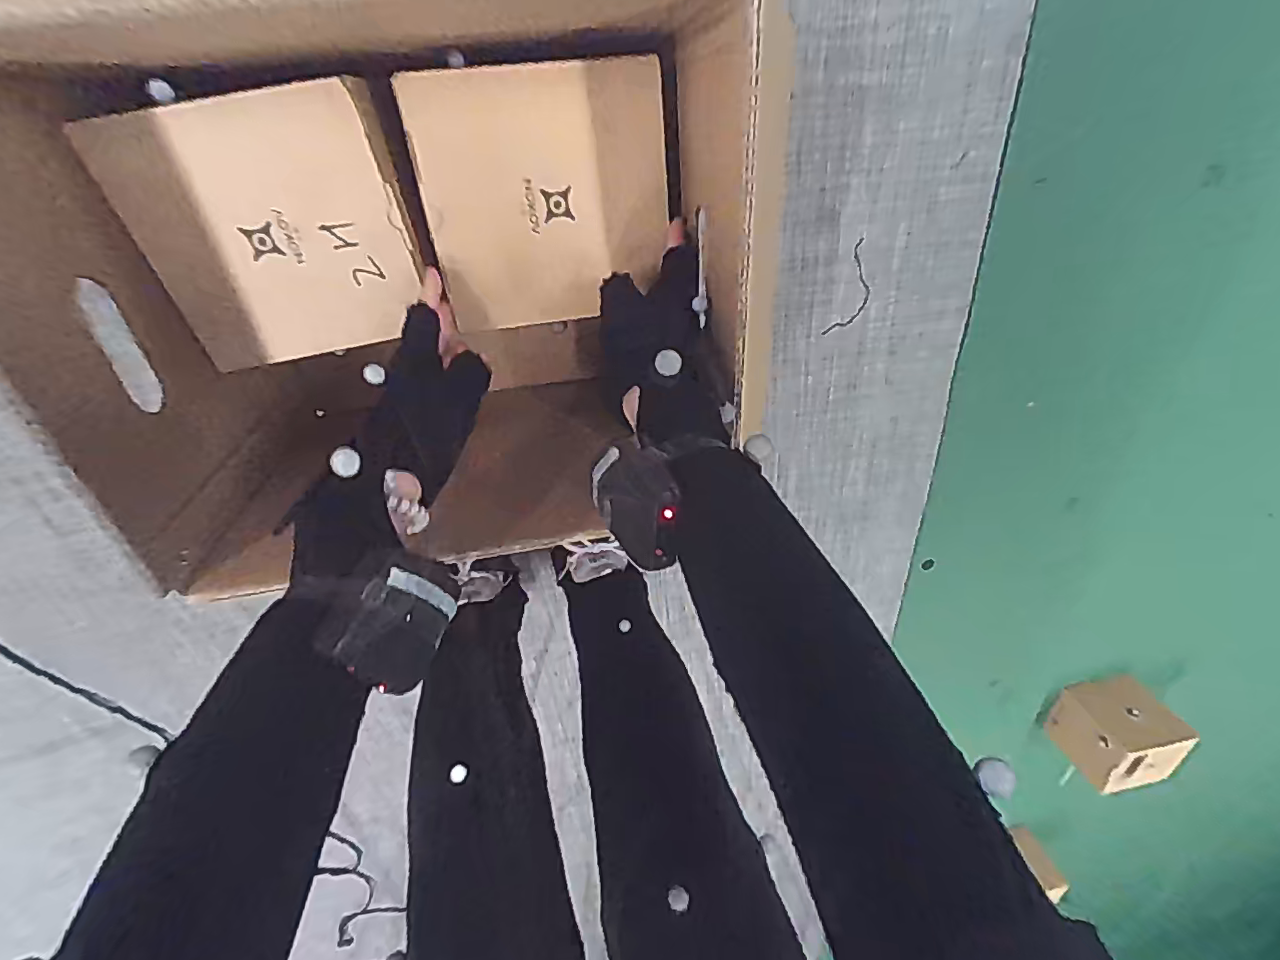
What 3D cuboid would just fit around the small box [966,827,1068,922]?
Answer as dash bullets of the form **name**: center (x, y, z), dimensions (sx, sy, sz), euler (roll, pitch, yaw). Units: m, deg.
- **small box**: center (1.127, 1.189, 1.634), dimensions (0.168, 0.176, 0.179), euler (-9, 123, -6)
